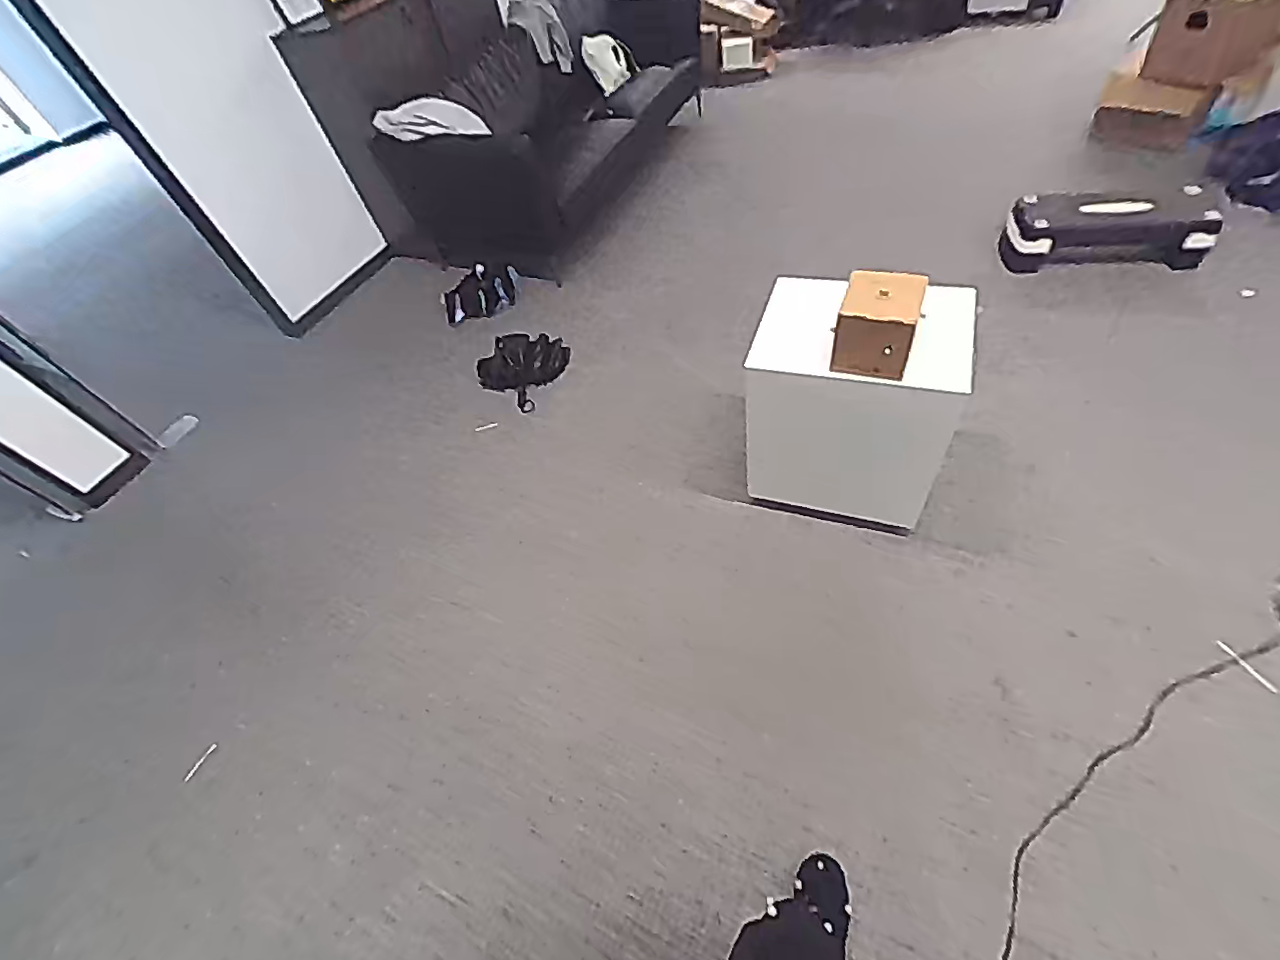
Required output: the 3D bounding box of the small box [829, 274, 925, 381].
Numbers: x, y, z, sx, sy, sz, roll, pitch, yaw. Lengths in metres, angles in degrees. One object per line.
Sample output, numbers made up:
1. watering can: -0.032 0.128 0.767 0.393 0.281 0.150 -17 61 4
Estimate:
1. small box: 0.547 -0.354 1.262 0.168 0.176 0.179 14 55 21
